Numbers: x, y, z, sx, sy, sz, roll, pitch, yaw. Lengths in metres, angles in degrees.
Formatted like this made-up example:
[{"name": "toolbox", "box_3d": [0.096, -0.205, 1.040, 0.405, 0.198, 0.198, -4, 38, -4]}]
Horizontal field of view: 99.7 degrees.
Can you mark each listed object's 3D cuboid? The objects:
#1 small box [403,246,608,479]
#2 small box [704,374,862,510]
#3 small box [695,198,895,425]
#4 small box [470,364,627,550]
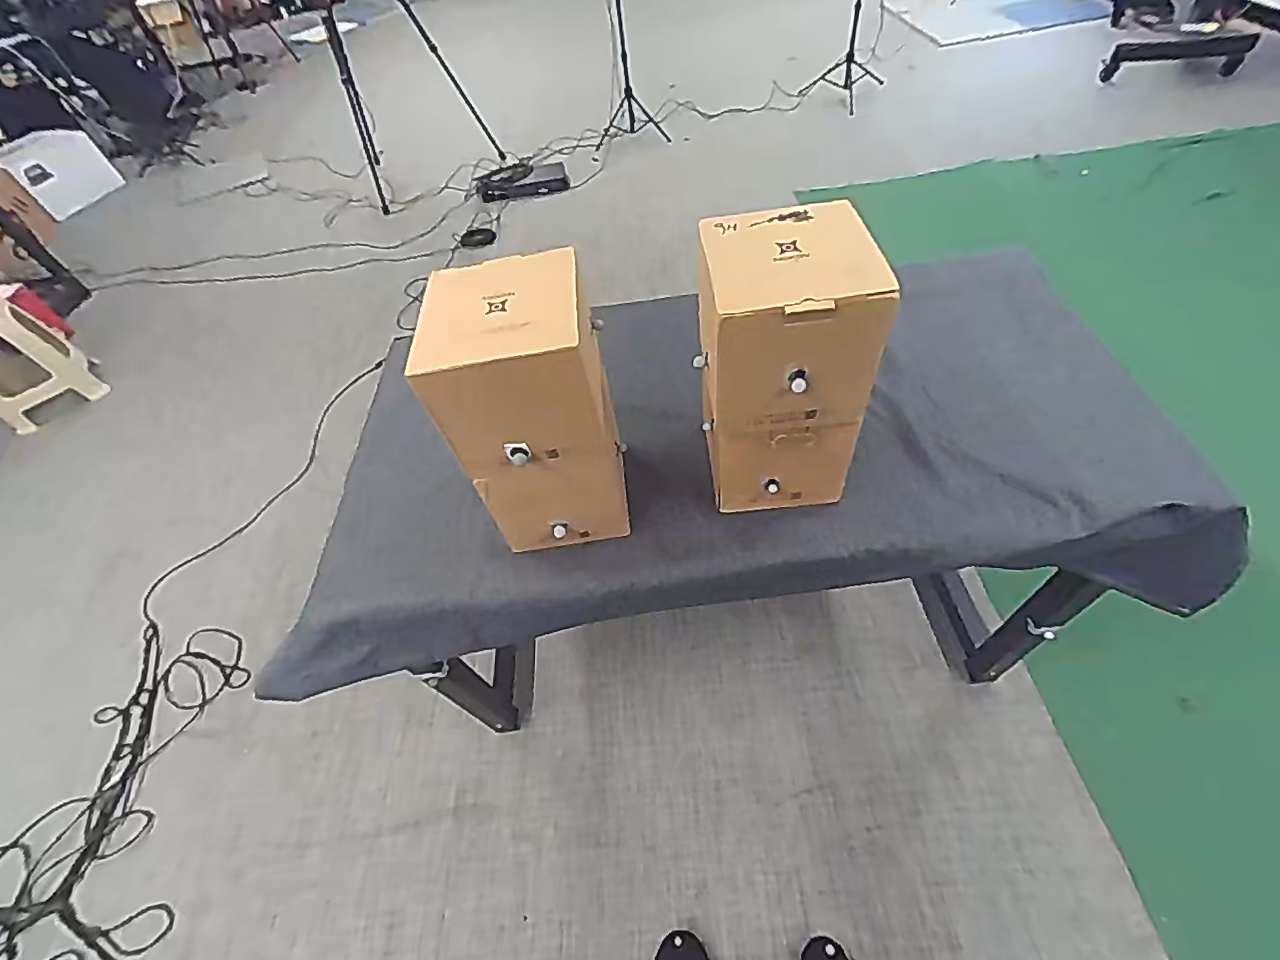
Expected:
[{"name": "small box", "box_3d": [-0.133, -0.126, 0.600, 0.168, 0.176, 0.179, -10, 53, 2]}, {"name": "small box", "box_3d": [0.176, -0.082, 0.729, 0.168, 0.176, 0.179, -6, 52, 4]}, {"name": "small box", "box_3d": [0.154, -0.175, 0.596, 0.168, 0.176, 0.179, -6, 53, 4]}, {"name": "small box", "box_3d": [-0.114, -0.029, 0.728, 0.168, 0.176, 0.179, -9, 53, 2]}]
